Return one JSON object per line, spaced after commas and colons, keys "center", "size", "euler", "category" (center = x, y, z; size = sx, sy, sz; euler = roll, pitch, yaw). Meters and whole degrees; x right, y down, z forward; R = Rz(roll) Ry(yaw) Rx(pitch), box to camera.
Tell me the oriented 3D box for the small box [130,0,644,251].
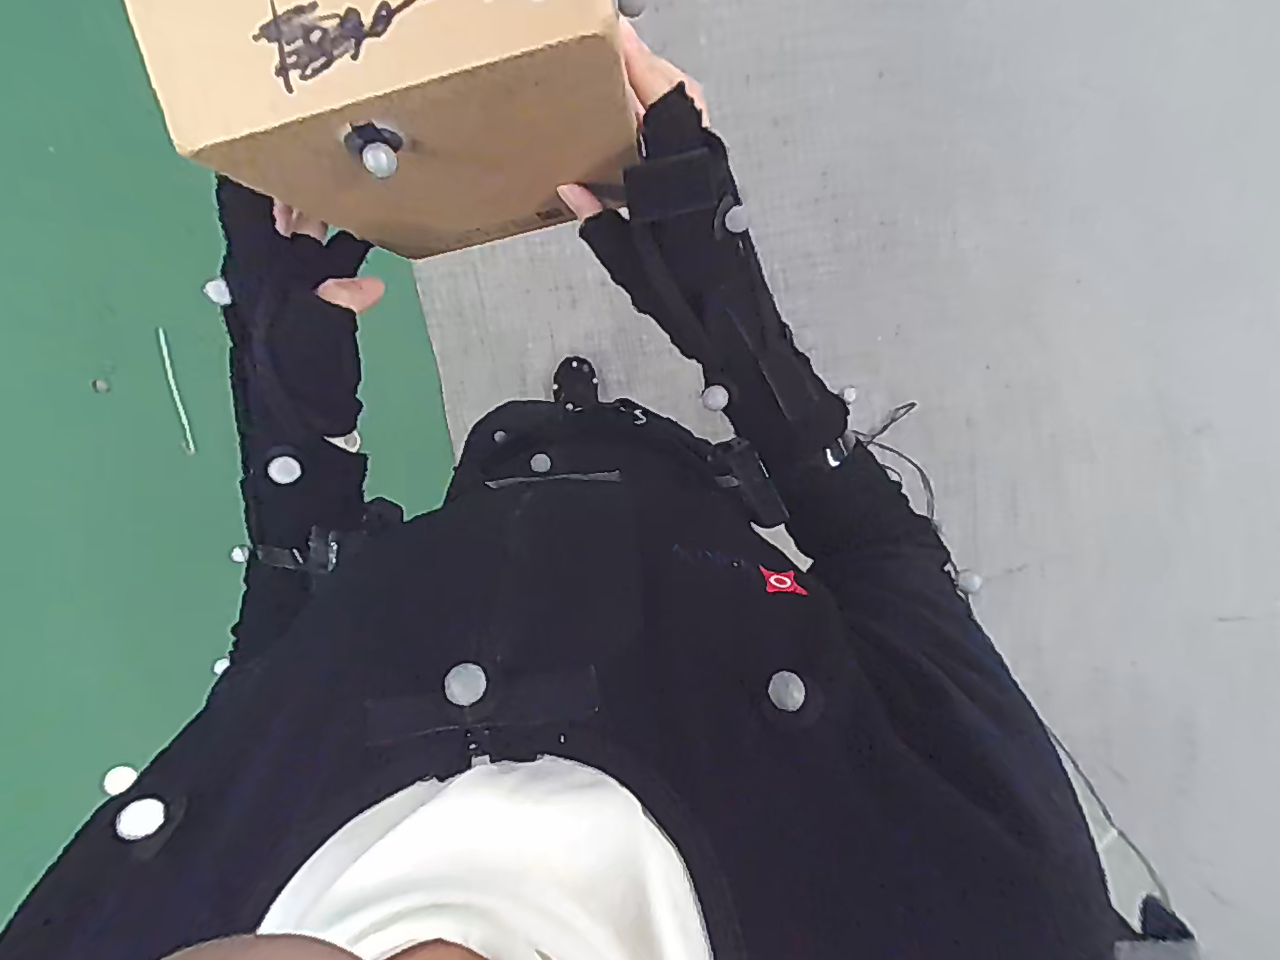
{"center": [-0.098, -0.233, 0.255], "size": [0.168, 0.176, 0.179], "euler": [-10, 98, 8], "category": "small box"}
